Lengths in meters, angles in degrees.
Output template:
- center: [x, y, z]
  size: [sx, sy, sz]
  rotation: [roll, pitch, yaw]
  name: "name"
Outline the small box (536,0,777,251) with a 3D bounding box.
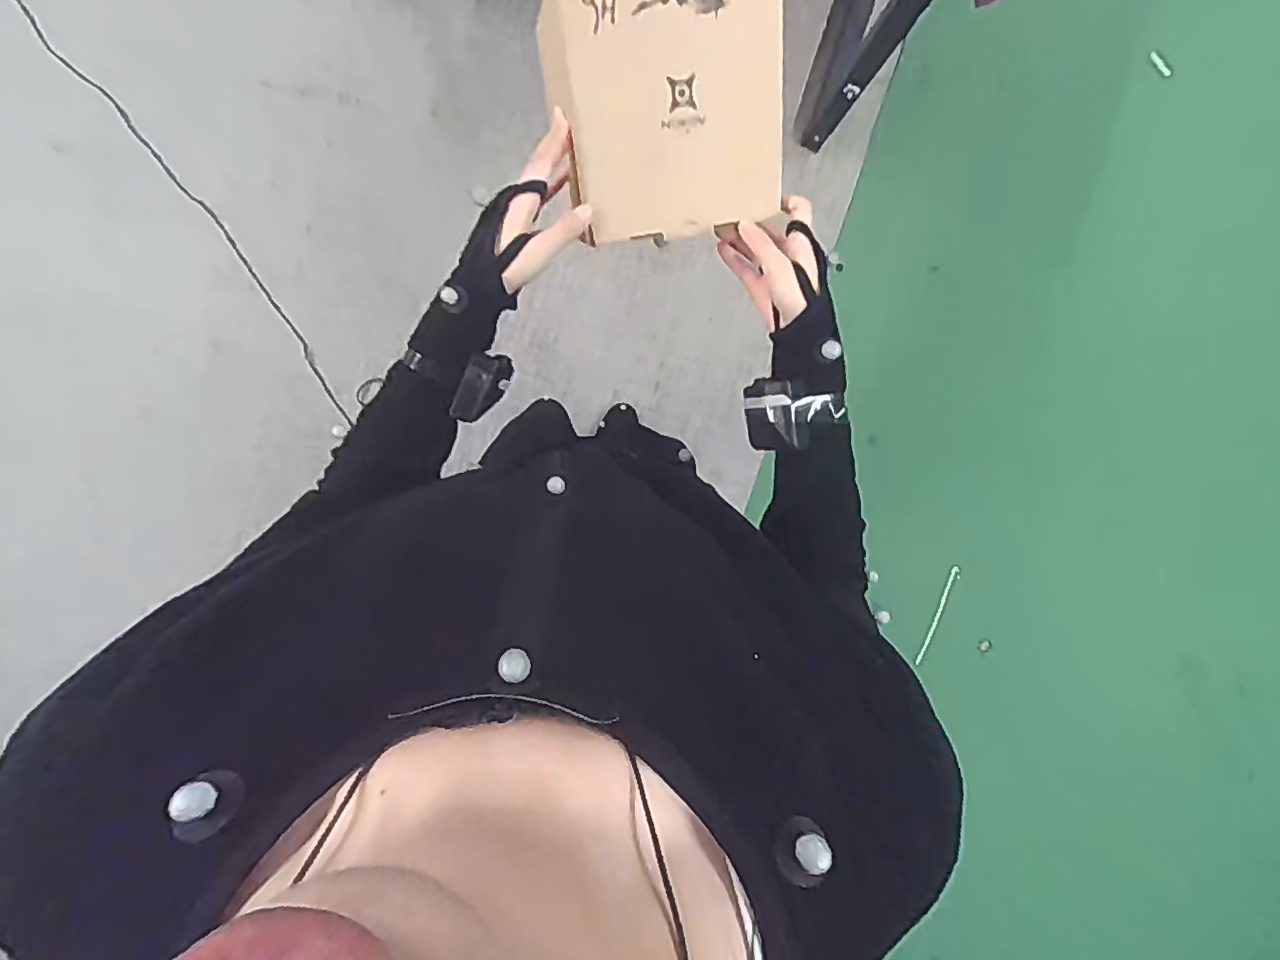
- center: [0.008, -0.314, 0.476]
  size: [0.168, 0.176, 0.179]
  rotation: [-12, 120, -8]
  name: "small box"
